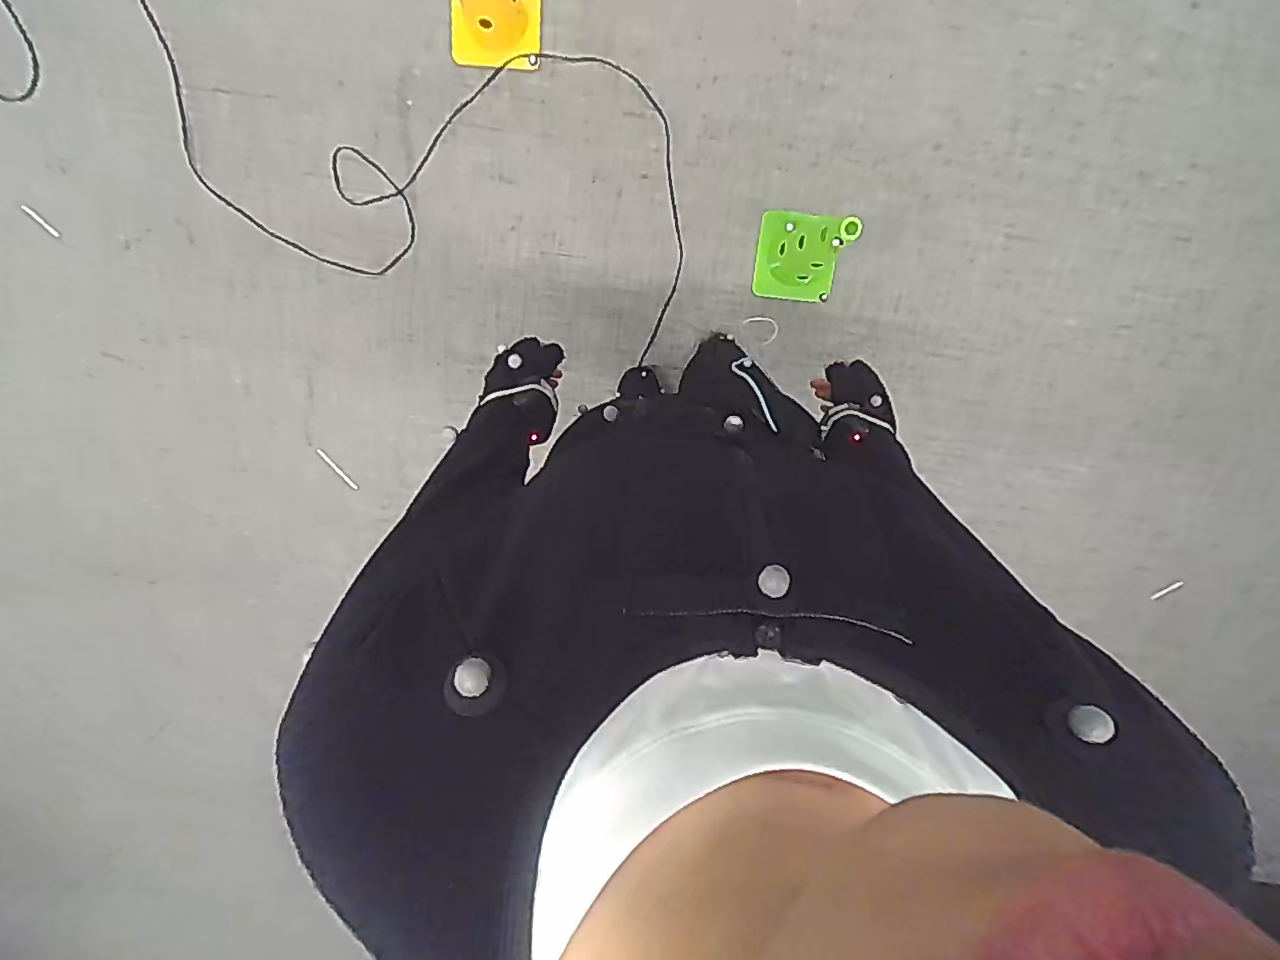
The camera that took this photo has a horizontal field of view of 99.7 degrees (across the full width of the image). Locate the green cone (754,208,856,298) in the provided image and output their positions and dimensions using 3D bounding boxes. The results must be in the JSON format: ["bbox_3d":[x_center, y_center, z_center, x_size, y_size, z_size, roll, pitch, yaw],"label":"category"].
[{"bbox_3d":[0.390,-0.522,1.176,0.202,0.368,0.200,5,103,-1],"label":"green cone"}]
